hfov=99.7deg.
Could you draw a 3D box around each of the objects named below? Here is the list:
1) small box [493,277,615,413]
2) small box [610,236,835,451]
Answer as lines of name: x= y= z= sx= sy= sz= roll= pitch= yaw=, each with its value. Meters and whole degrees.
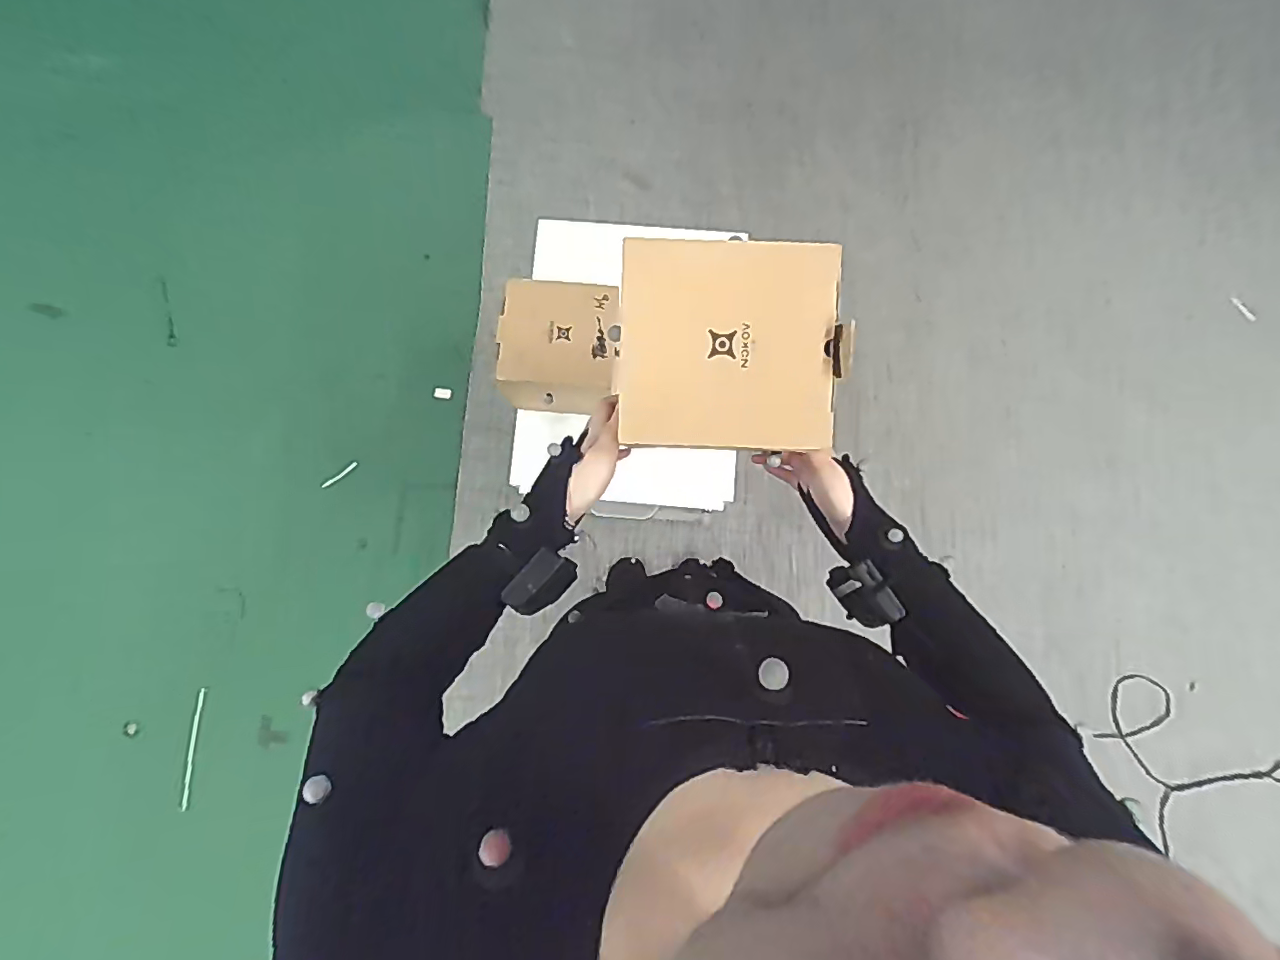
small box: x=-0.126 y=-0.212 z=0.892 sx=0.179 sy=0.176 sz=0.168 roll=4 pitch=83 yaw=0
small box: x=0.066 y=-0.113 z=0.512 sx=0.179 sy=0.176 sz=0.168 roll=2 pitch=93 yaw=0
